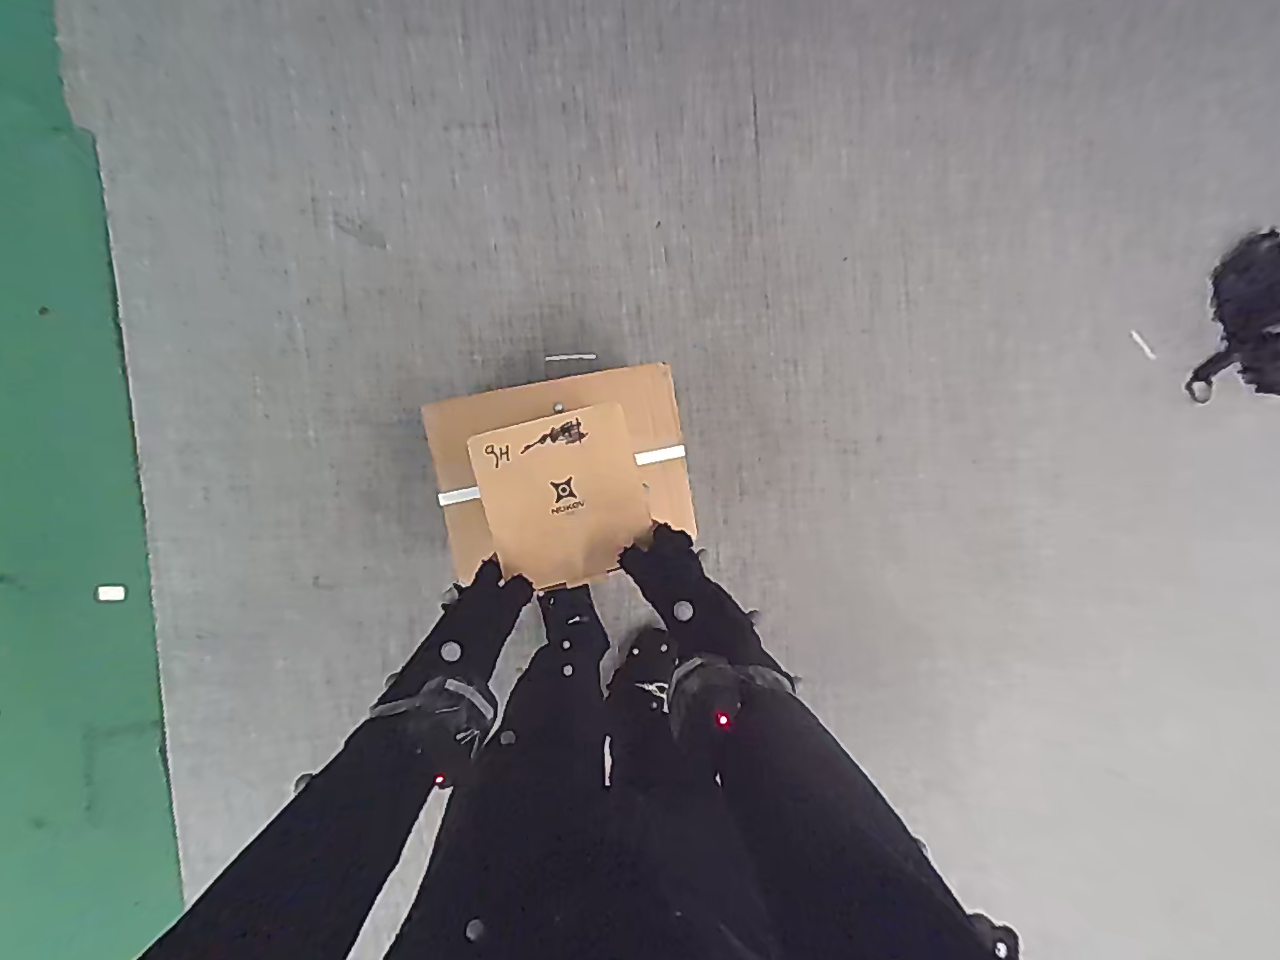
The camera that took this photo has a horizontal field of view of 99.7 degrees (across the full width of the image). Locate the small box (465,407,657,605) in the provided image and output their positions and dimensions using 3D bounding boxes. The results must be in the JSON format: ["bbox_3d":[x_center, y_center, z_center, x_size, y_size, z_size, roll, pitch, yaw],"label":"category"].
[{"bbox_3d":[-0.086,0.023,0.635,0.168,0.176,0.179,-15,93,-5],"label":"small box"}]
